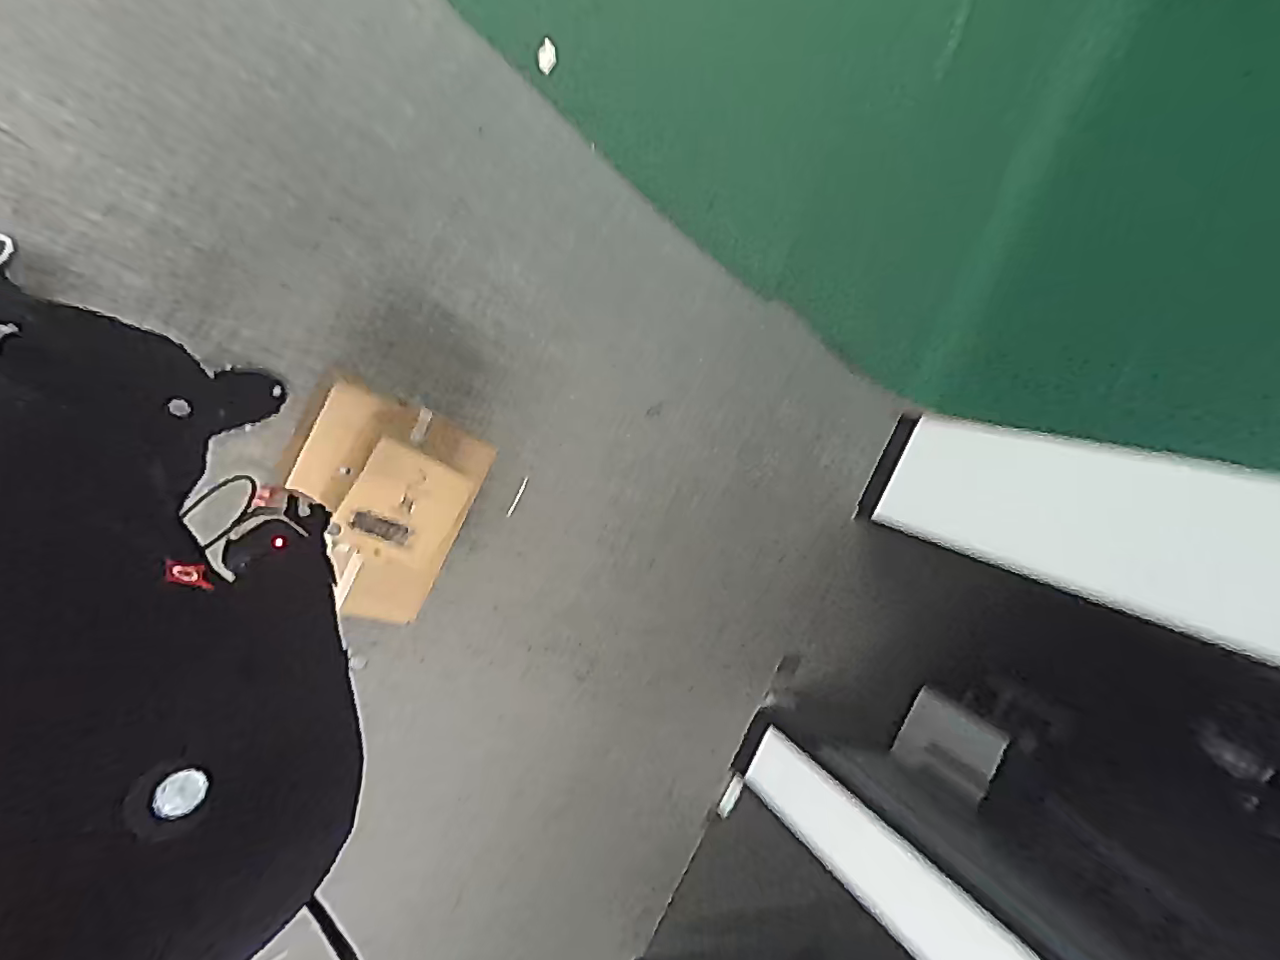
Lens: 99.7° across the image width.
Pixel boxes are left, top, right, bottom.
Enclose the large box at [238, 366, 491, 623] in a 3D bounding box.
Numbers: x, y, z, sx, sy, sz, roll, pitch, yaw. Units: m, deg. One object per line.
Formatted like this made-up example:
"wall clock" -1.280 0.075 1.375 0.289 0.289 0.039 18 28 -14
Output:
"large box" -0.572 0.022 1.127 0.320 0.320 0.408 26 91 -36
